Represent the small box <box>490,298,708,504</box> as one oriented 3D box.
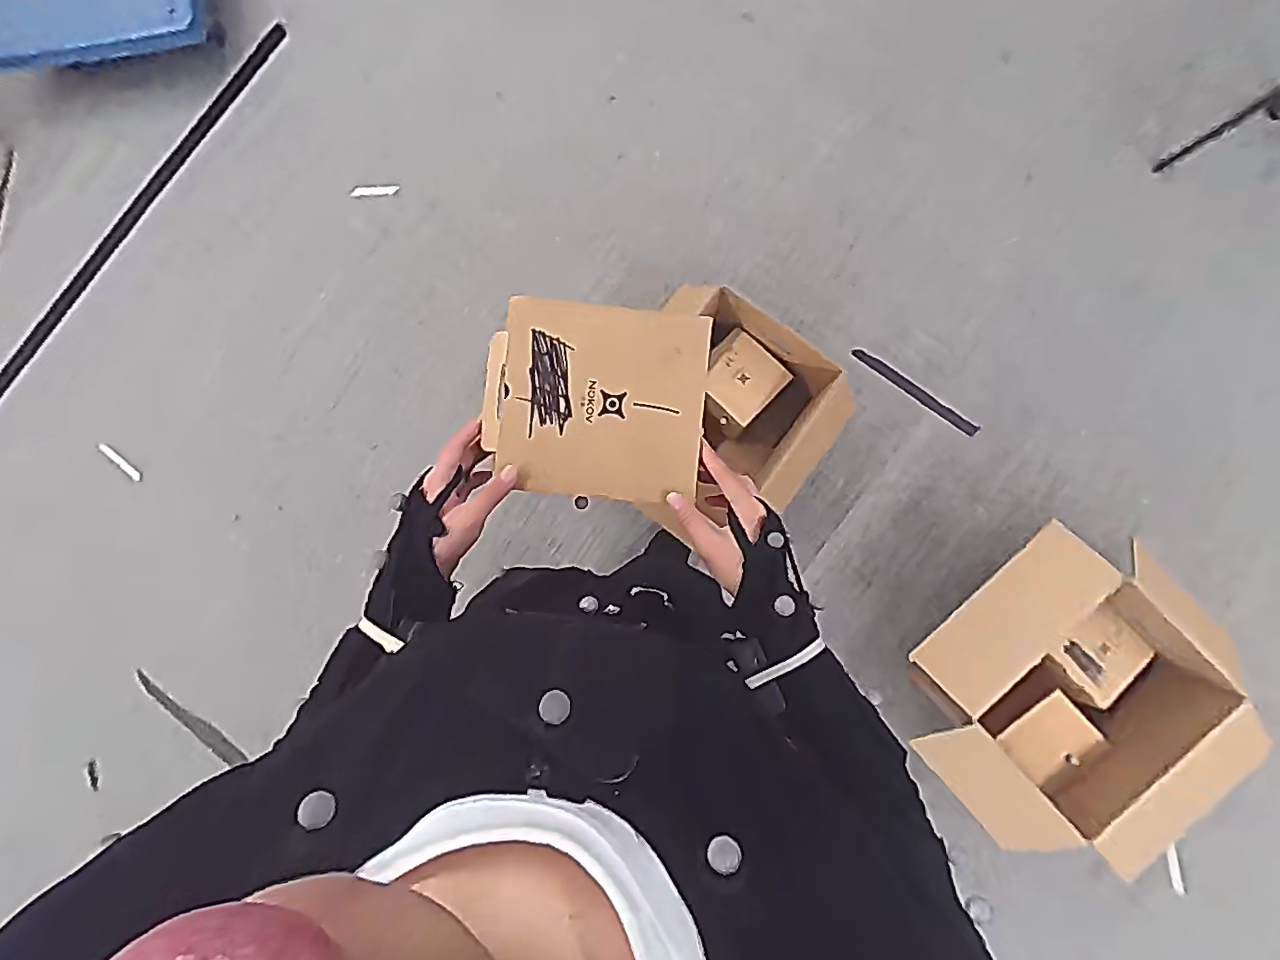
[{"bbox_3d":[-0.037,-0.068,0.544,0.179,0.176,0.168,5,91,-3],"label":"small box"}]
